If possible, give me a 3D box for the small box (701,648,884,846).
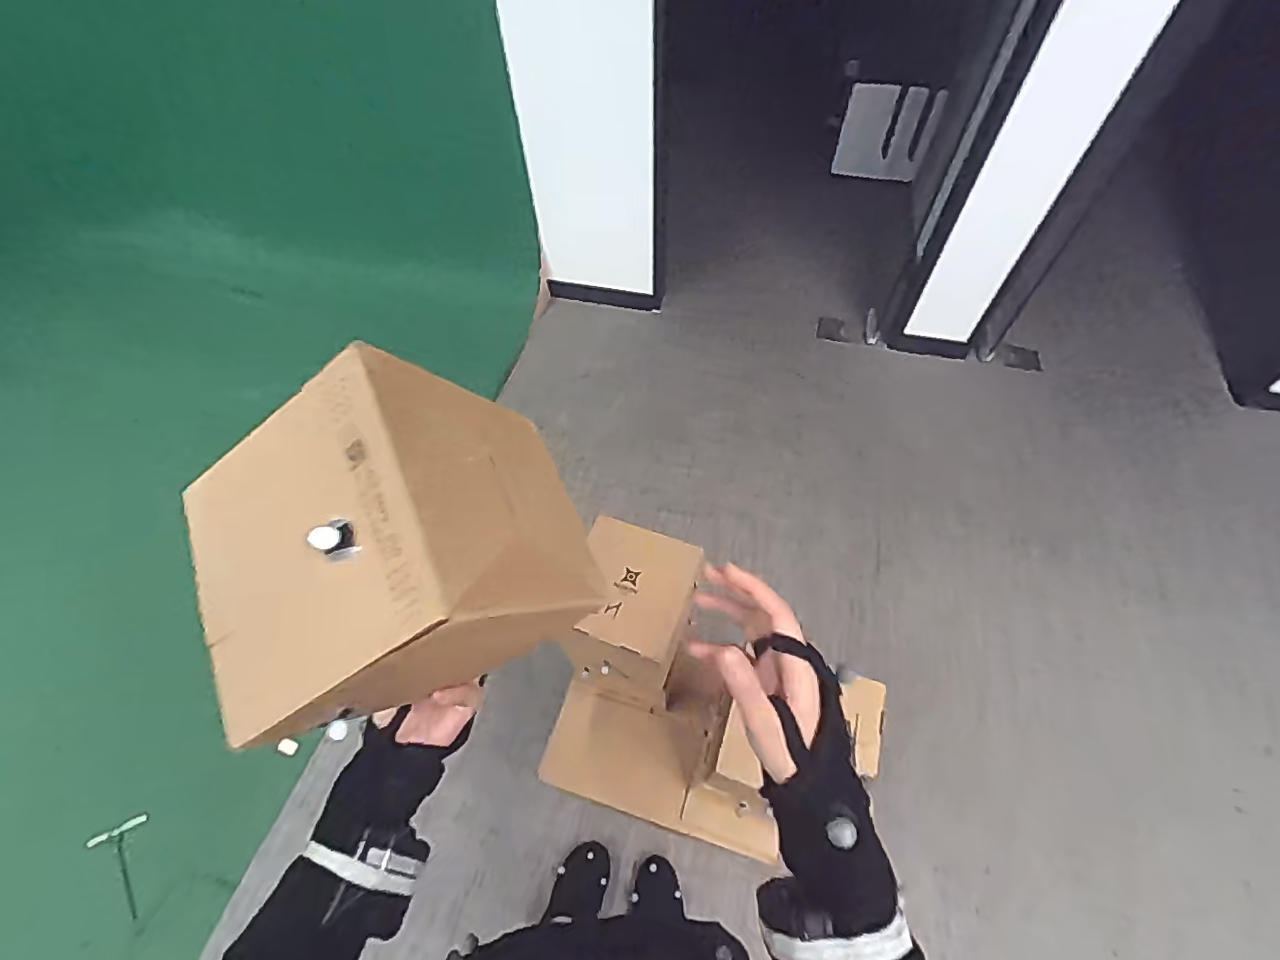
[{"bbox_3d":[0.189,0.345,0.700,0.179,0.176,0.168,17,58,12],"label":"small box"}]

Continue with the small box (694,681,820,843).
[{"bbox_3d":[0.187,0.437,0.835,0.179,0.176,0.168,16,59,12],"label":"small box"}]

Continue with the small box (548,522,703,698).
[{"bbox_3d":[-0.015,0.197,0.810,0.168,0.176,0.179,17,58,15],"label":"small box"}]
